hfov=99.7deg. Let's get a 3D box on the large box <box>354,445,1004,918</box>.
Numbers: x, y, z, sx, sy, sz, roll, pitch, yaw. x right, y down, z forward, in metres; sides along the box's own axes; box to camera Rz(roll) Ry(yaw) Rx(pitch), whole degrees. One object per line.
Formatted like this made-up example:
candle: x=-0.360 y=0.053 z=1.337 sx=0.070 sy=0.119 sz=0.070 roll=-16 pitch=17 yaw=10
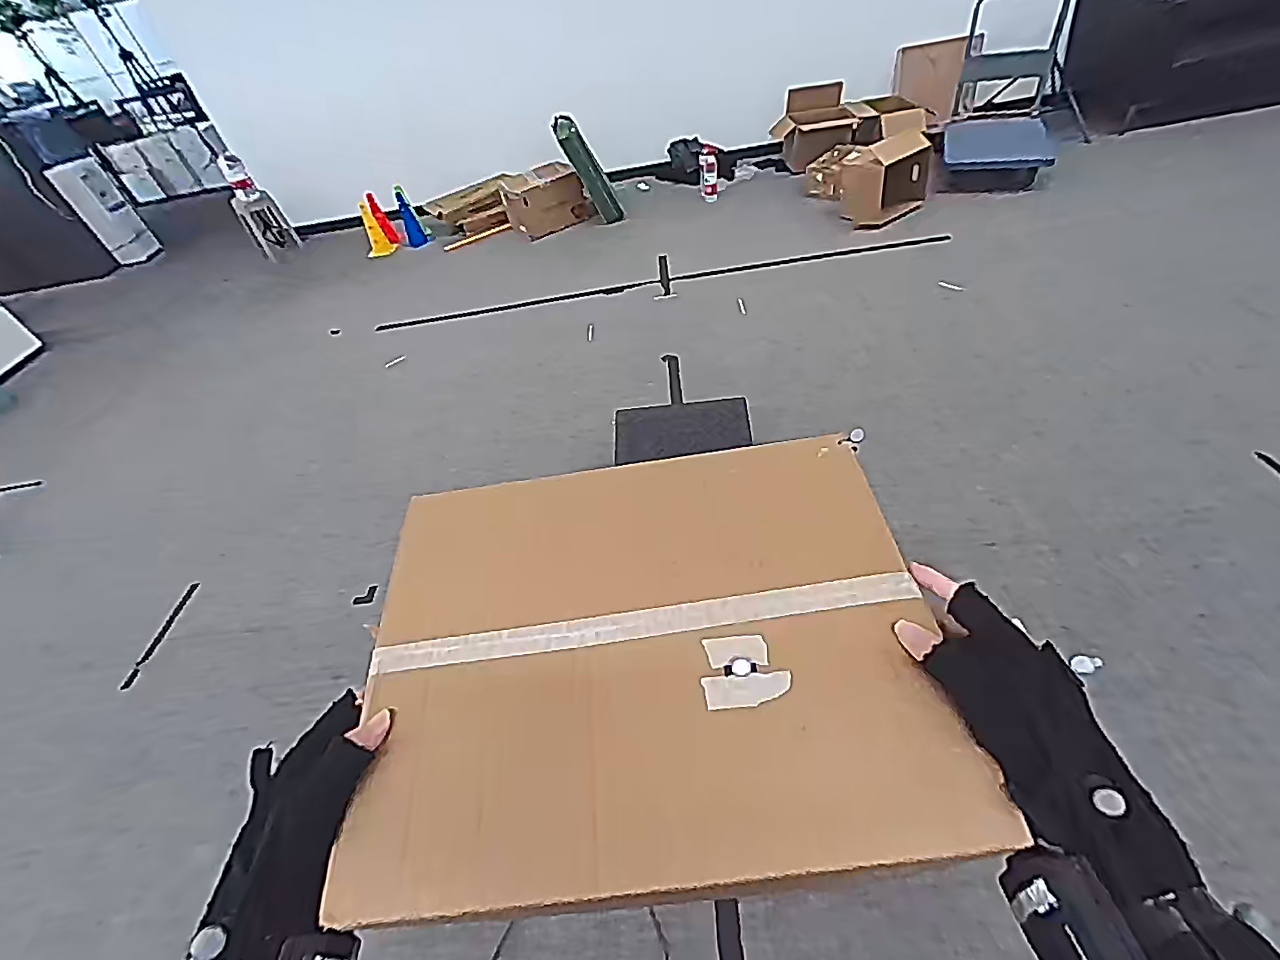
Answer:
large box: x=0.022 y=0.207 z=0.529 sx=0.408 sy=0.320 sz=0.320 roll=-8 pitch=51 yaw=2
